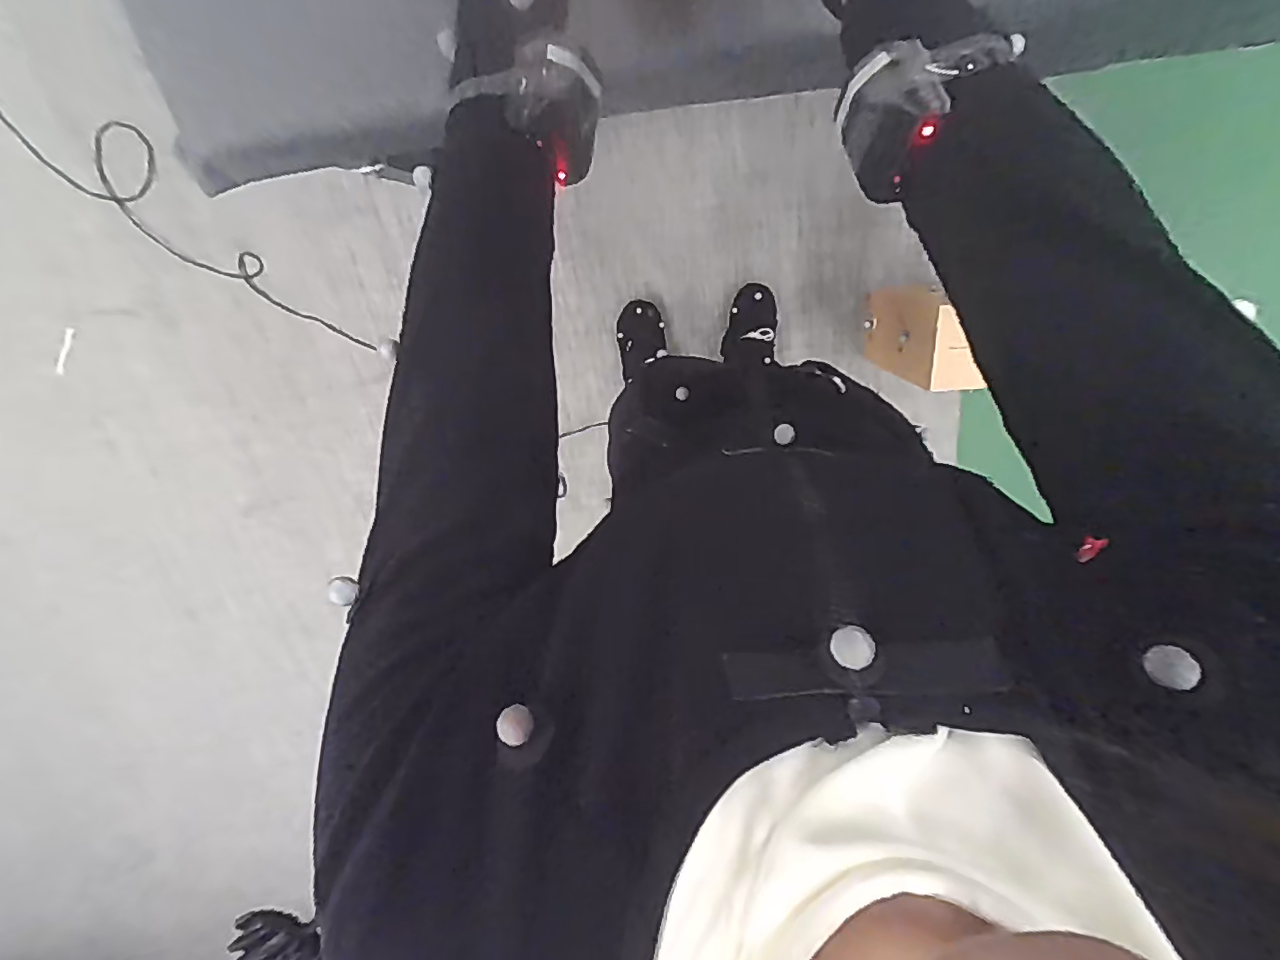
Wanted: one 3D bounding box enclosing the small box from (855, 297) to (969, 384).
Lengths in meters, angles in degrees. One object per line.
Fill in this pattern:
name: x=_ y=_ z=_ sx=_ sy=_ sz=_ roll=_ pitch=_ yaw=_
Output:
small box: x=0.621 y=-0.327 z=1.253 sx=0.179 sy=0.176 sz=0.168 roll=-5 pitch=112 yaw=3
